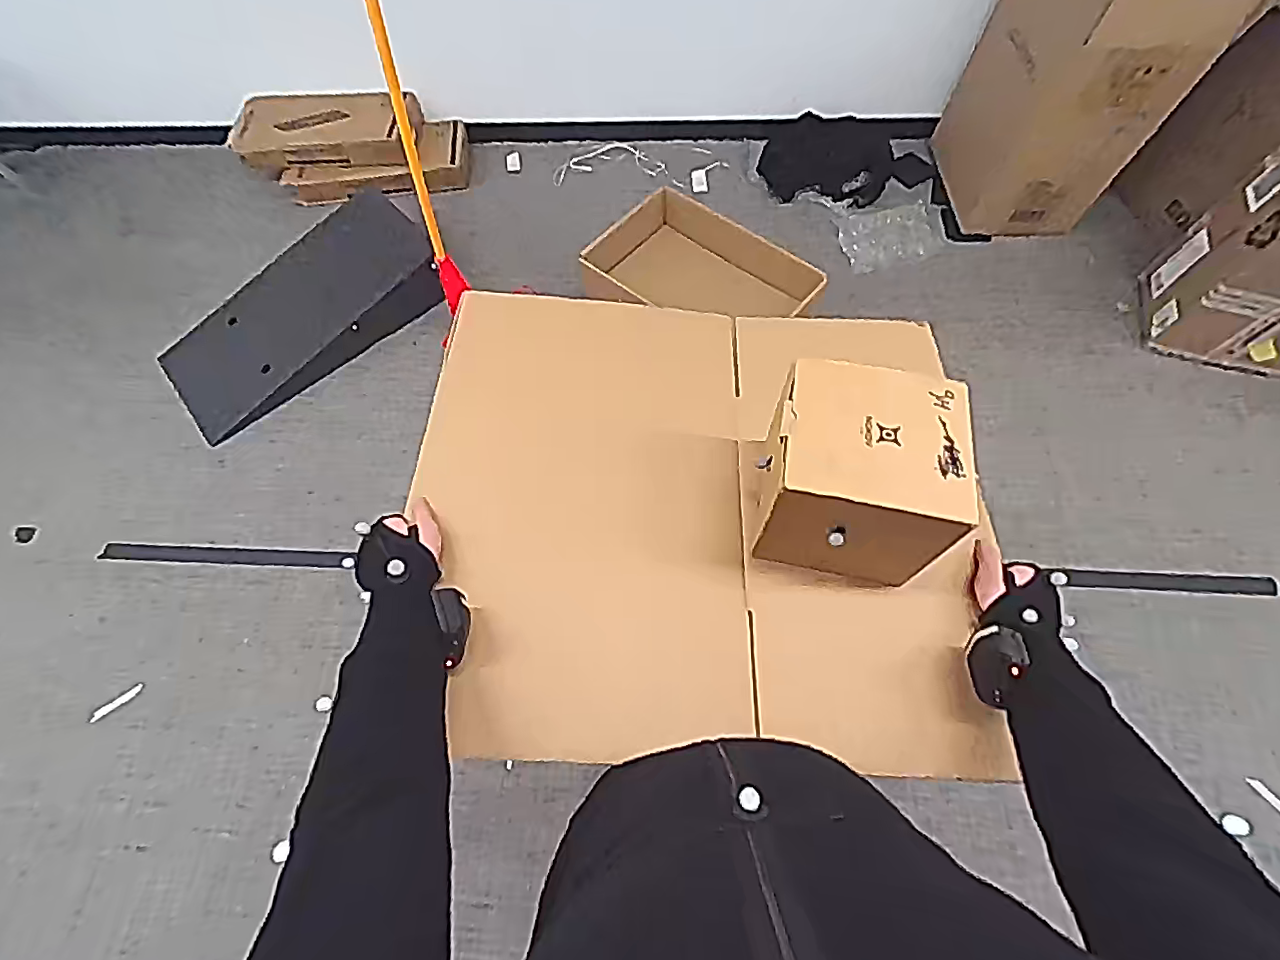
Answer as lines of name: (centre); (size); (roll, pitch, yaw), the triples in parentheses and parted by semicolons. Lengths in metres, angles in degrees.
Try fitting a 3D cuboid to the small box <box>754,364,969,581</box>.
small box: (0.231, -0.002, 0.602); (0.179, 0.176, 0.168); (11, 61, 7)
